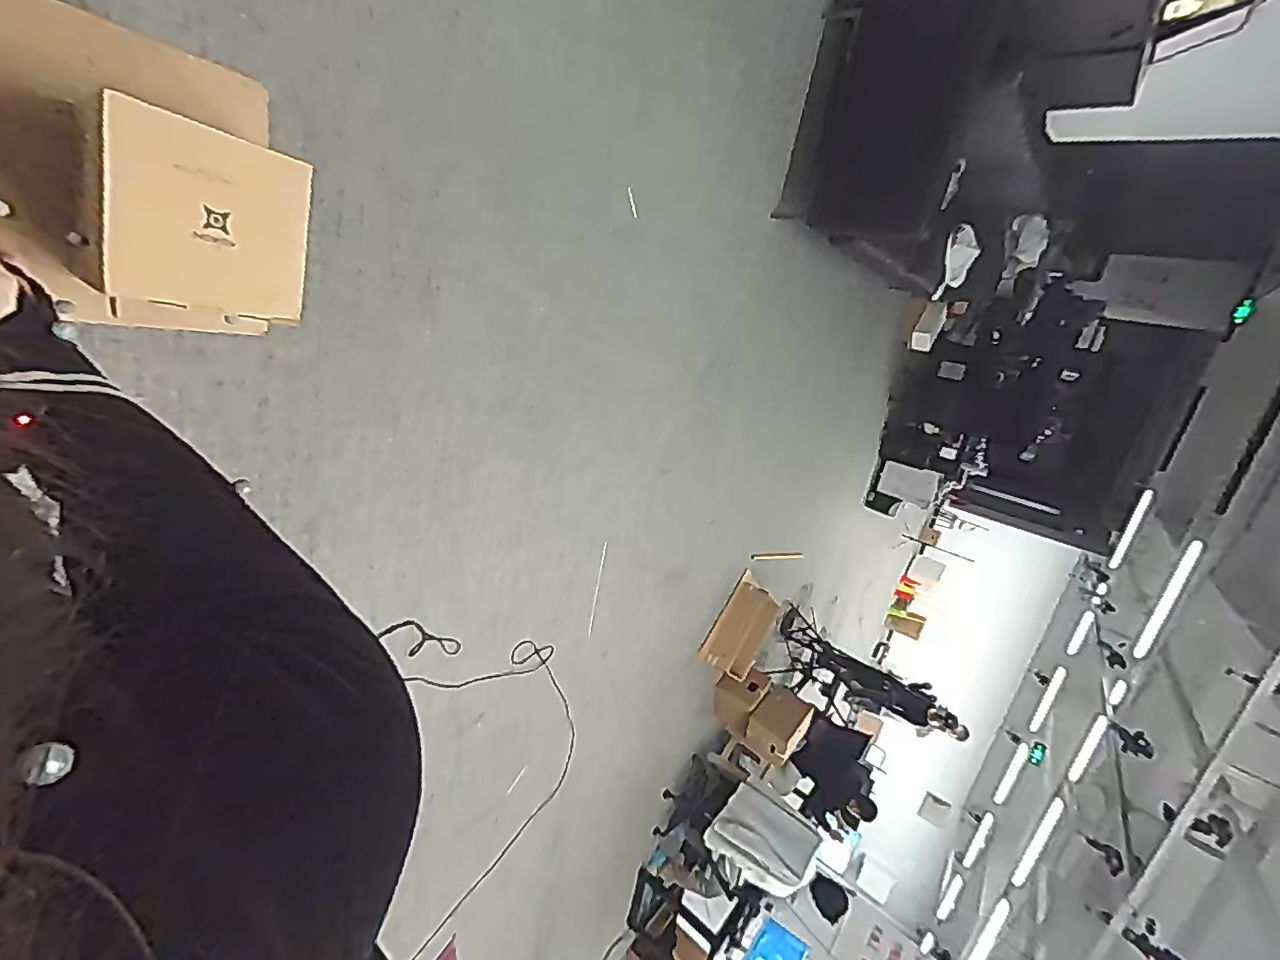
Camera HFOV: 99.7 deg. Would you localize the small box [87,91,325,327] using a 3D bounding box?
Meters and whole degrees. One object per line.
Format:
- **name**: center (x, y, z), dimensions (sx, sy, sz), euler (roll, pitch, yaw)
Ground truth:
- **small box**: center (-0.474, -0.280, 0.591), dimensions (0.168, 0.176, 0.179), euler (-4, 111, -52)
